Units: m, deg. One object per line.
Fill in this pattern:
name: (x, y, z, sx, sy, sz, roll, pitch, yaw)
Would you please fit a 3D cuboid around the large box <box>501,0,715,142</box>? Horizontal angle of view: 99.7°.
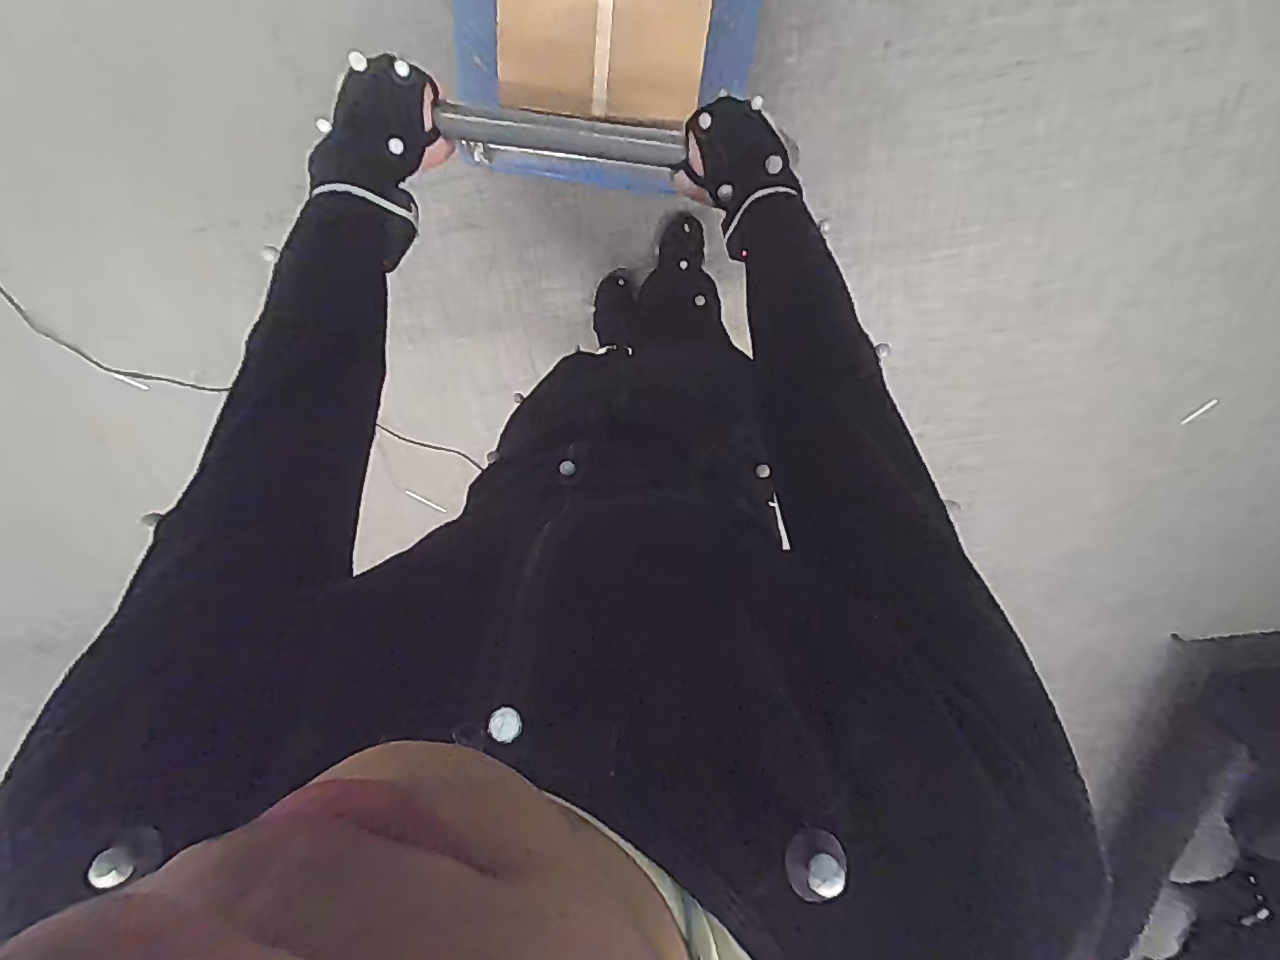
large box: (-0.041, -0.817, 0.895, 0.320, 0.320, 0.408, 6, 119, -5)
